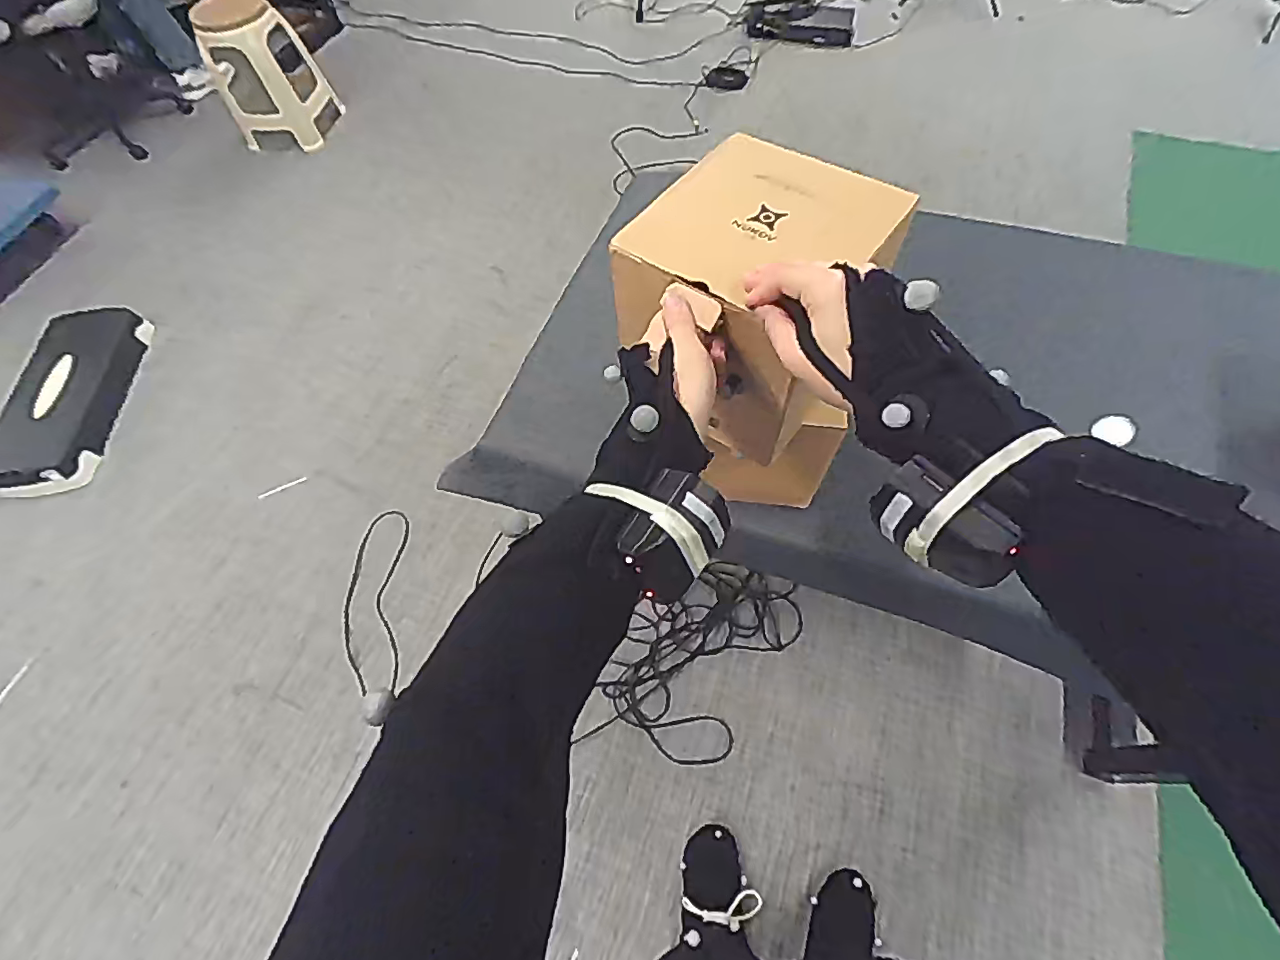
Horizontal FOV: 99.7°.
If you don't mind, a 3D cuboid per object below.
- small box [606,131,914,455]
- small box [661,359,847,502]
[{"bbox_3d":[0.094,-0.153,0.468,0.168,0.176,0.179,33,68,19],"label":"small box"},{"bbox_3d":[0.122,-0.087,0.615,0.179,0.176,0.168,6,61,8],"label":"small box"}]
